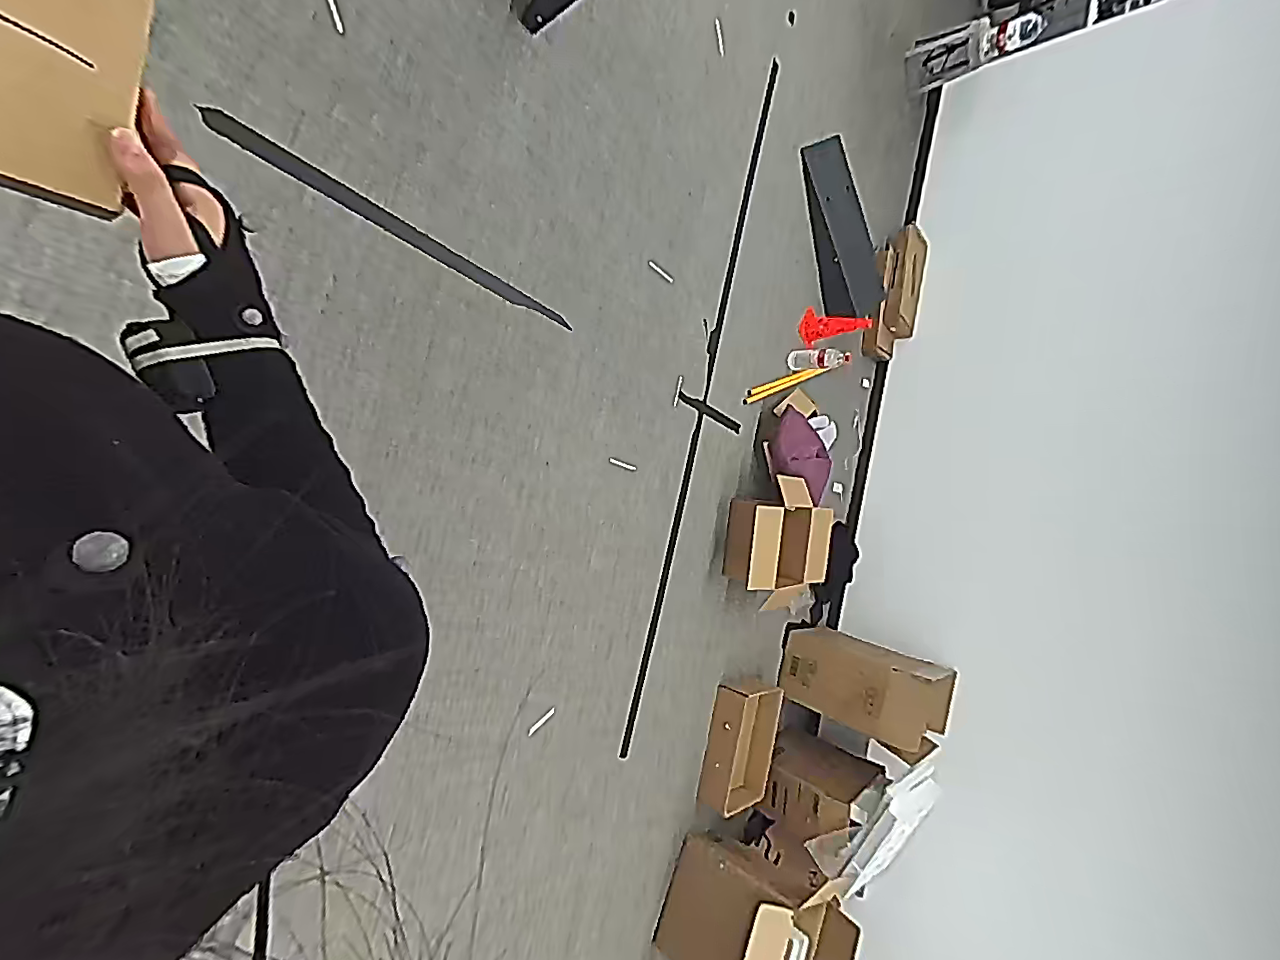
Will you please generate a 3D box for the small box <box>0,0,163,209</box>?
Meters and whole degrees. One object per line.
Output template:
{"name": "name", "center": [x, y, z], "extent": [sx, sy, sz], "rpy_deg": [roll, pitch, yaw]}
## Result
{"name": "small box", "center": [-0.435, -0.289, 0.344], "extent": [0.179, 0.176, 0.168], "rpy_deg": [8, 101, -48]}
